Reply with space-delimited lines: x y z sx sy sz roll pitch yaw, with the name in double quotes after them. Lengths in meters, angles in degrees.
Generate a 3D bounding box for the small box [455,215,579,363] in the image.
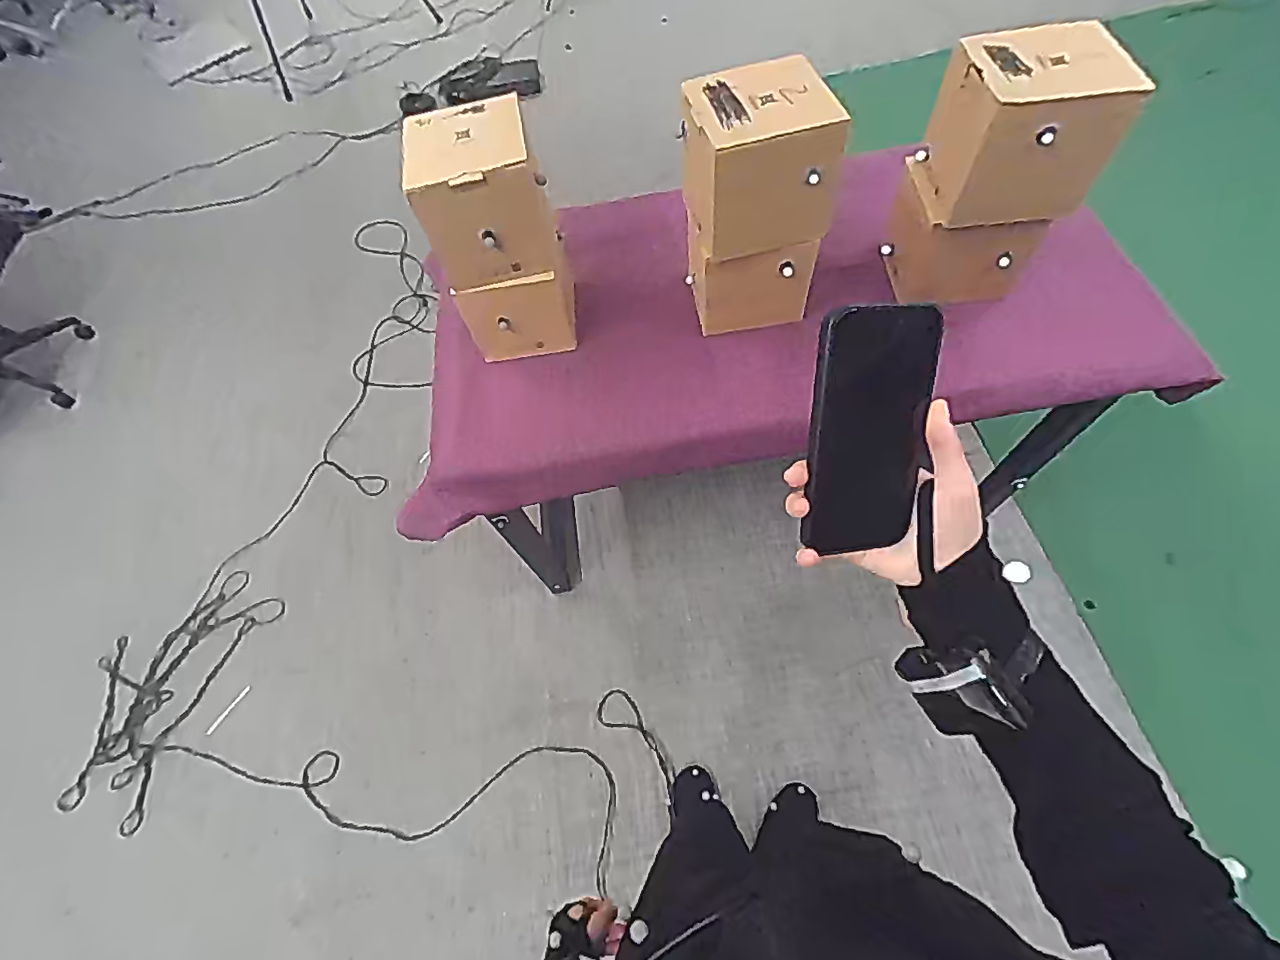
-0.204 -0.321 0.940 0.168 0.176 0.179 -8 61 3 "small box"

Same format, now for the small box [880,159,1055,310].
0.521 -0.403 0.889 0.179 0.176 0.168 -3 61 6 "small box"

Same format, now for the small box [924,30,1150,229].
0.513 -0.468 0.739 0.179 0.176 0.168 -3 61 5 "small box"

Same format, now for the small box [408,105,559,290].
-0.224 -0.406 0.800 0.168 0.176 0.179 -13 62 0 "small box"

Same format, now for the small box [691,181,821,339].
0.184 -0.363 0.910 0.179 0.176 0.168 -9 61 3 "small box"
